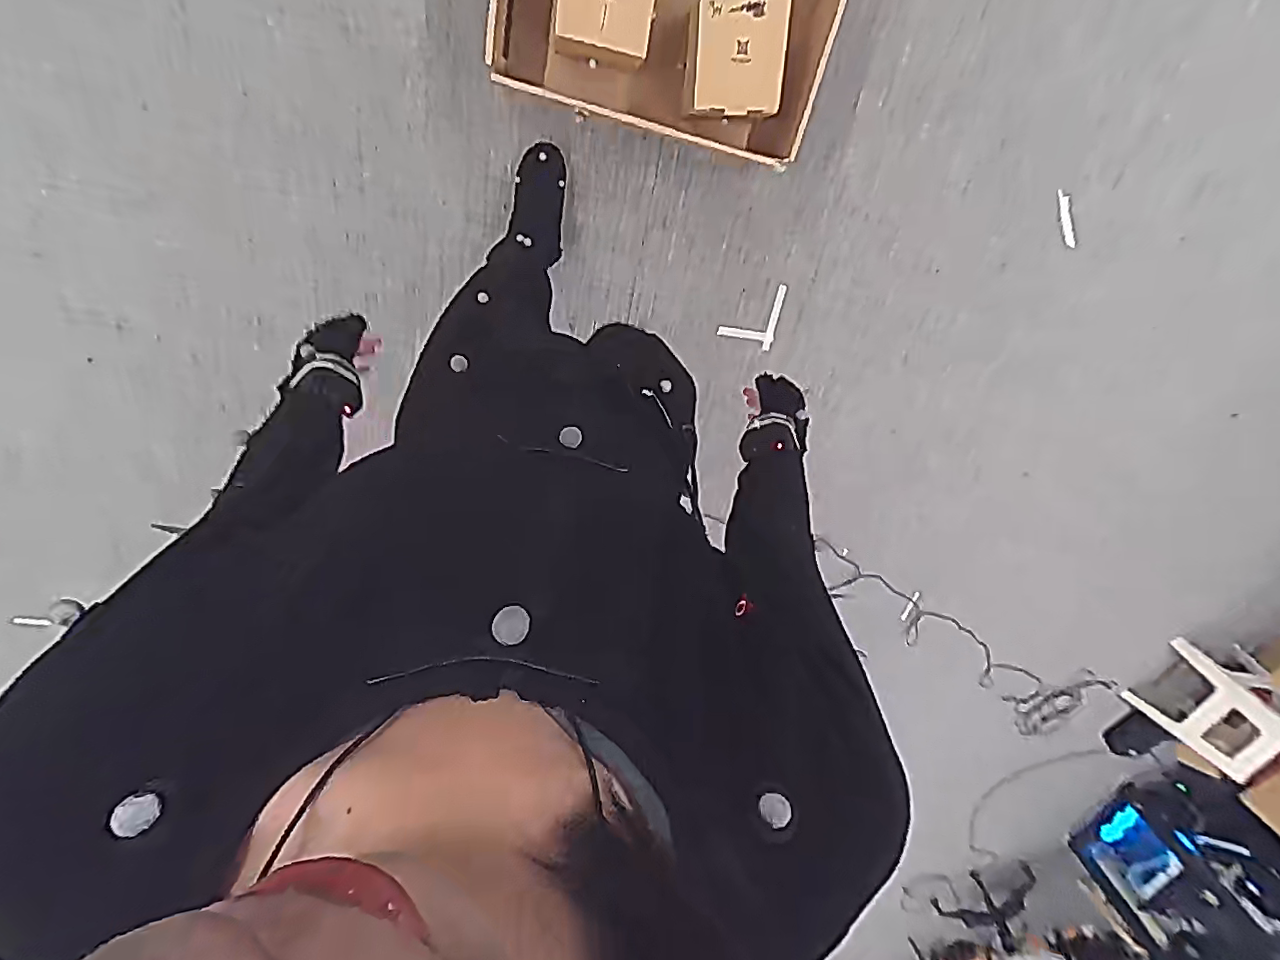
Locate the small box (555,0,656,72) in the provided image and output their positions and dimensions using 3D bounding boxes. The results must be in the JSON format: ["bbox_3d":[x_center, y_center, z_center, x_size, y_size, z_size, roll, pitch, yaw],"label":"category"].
[{"bbox_3d":[-0.063,-0.875,0.977,0.168,0.176,0.179,6,119,-12],"label":"small box"}]
